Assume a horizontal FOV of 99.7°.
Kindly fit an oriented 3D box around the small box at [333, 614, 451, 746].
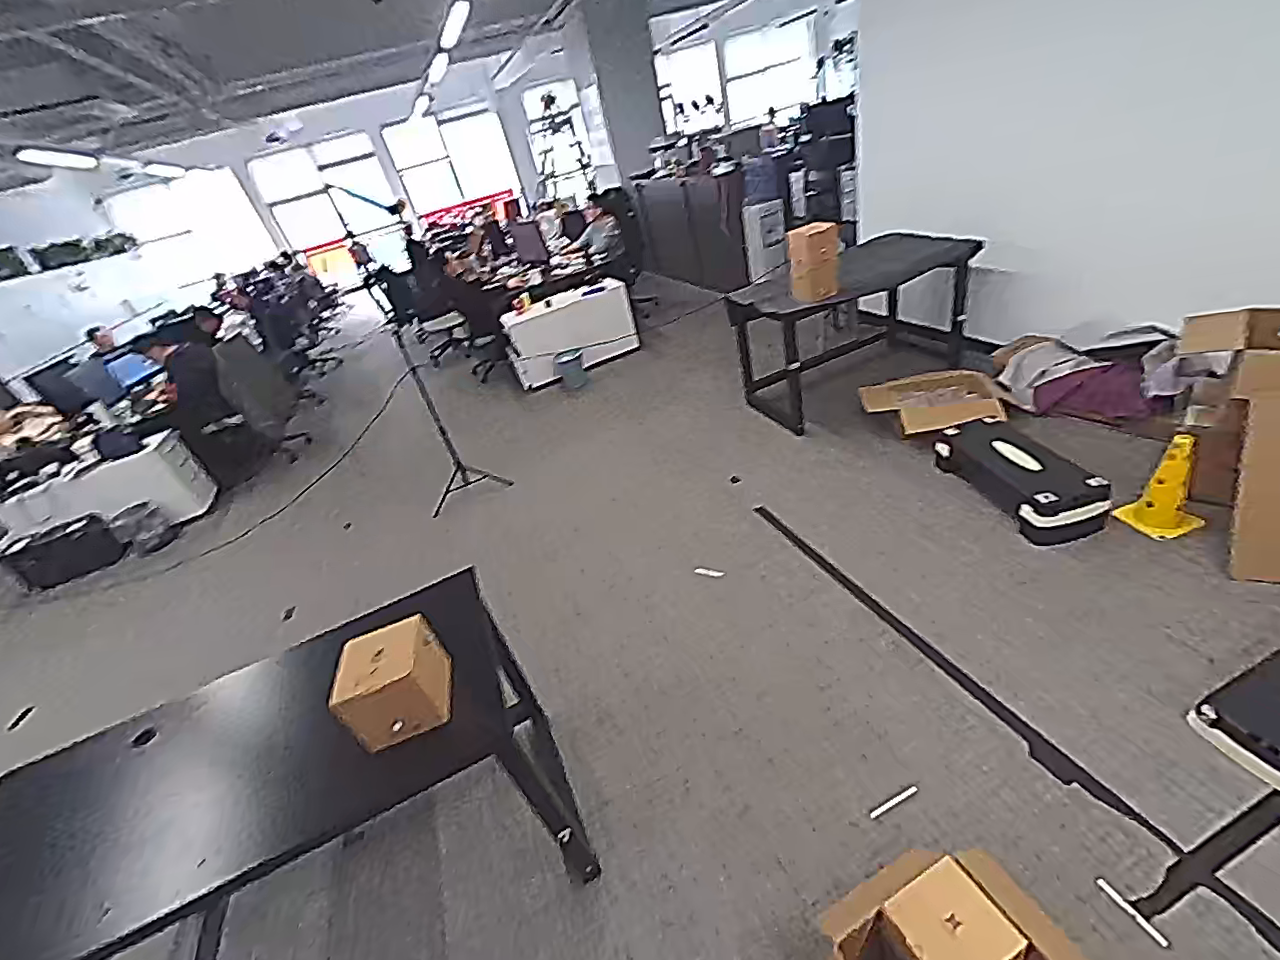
[{"bbox_3d":[-0.521,0.429,1.167,0.168,0.176,0.179,-21,33,-5],"label":"small box"}]
